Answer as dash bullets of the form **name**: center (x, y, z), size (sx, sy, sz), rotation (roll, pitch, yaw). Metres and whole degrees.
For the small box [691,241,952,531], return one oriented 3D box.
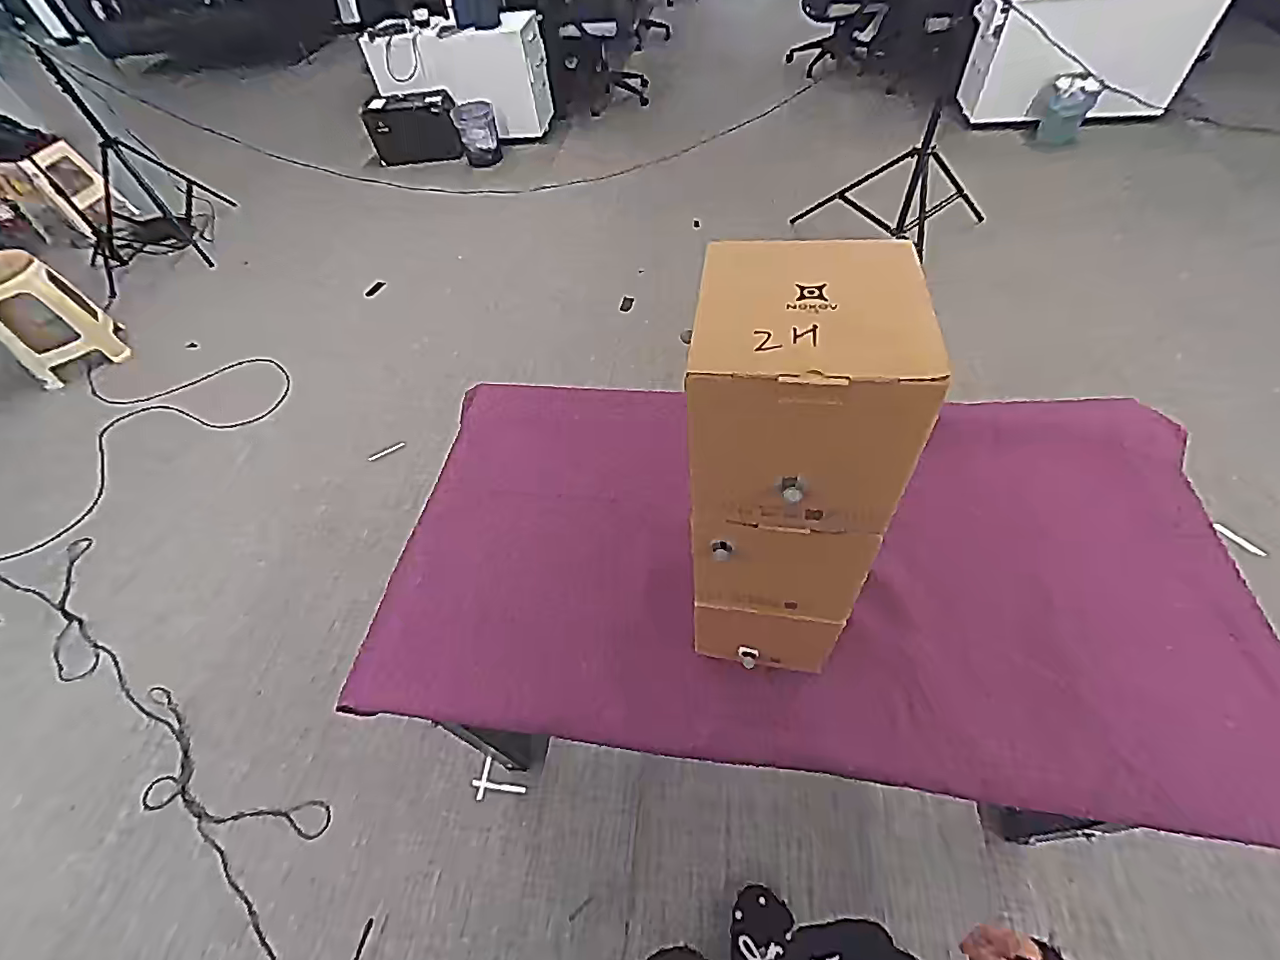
- **small box**: center (0.135, -0.081, 0.460), size (0.168, 0.176, 0.179), rotation (4, 52, 11)

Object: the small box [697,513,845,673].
- **small box**: center (0.165, 0.130, 0.712), size (0.168, 0.176, 0.179), rotation (5, 53, 11)
